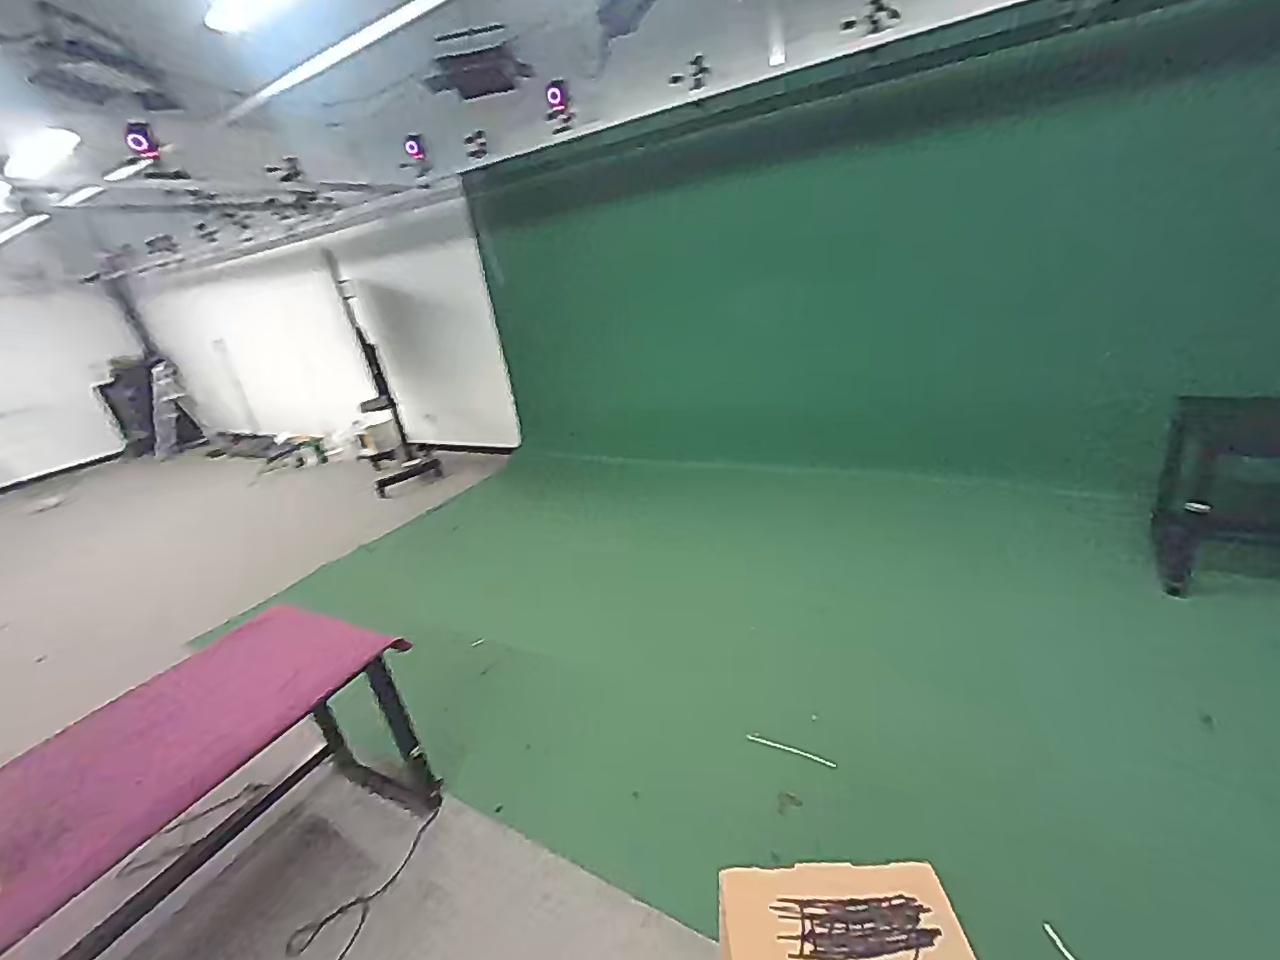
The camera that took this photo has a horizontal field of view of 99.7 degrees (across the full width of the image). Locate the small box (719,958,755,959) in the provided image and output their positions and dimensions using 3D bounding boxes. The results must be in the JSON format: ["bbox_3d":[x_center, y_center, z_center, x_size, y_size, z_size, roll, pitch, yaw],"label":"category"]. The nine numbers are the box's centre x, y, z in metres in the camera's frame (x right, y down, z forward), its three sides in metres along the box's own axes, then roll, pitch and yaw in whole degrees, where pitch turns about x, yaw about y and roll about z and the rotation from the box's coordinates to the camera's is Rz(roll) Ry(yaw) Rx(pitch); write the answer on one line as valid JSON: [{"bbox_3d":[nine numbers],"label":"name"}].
[{"bbox_3d":[0.153,0.553,0.452,0.168,0.176,0.179,-2,23,4],"label":"small box"}]
